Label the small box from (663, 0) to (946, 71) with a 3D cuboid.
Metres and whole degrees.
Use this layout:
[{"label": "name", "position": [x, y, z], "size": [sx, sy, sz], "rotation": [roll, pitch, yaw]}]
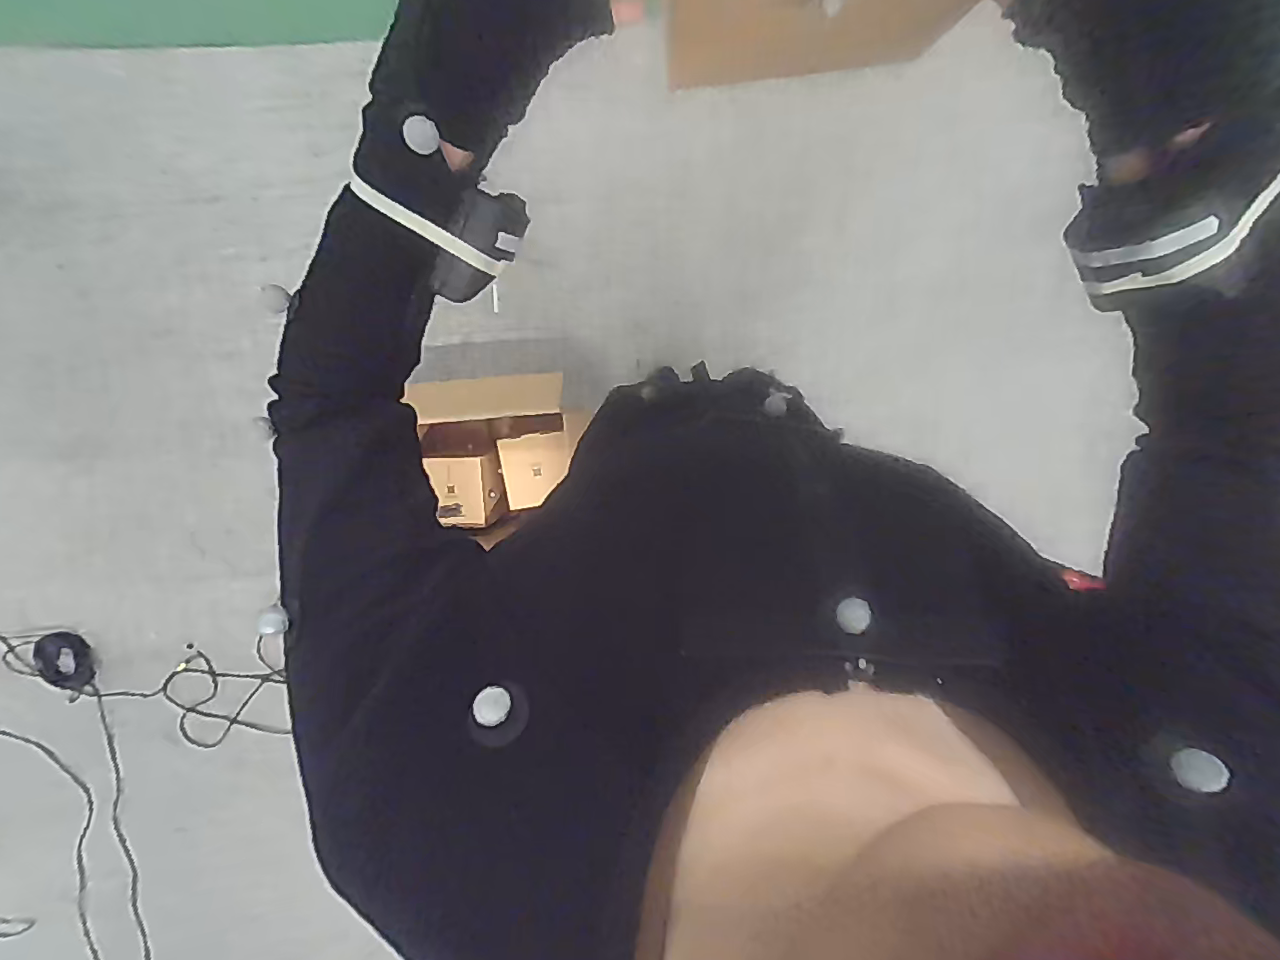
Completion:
[{"label": "small box", "position": [0.097, -0.346, 0.282], "size": [0.179, 0.176, 0.168], "rotation": [-5, 108, 2]}]
